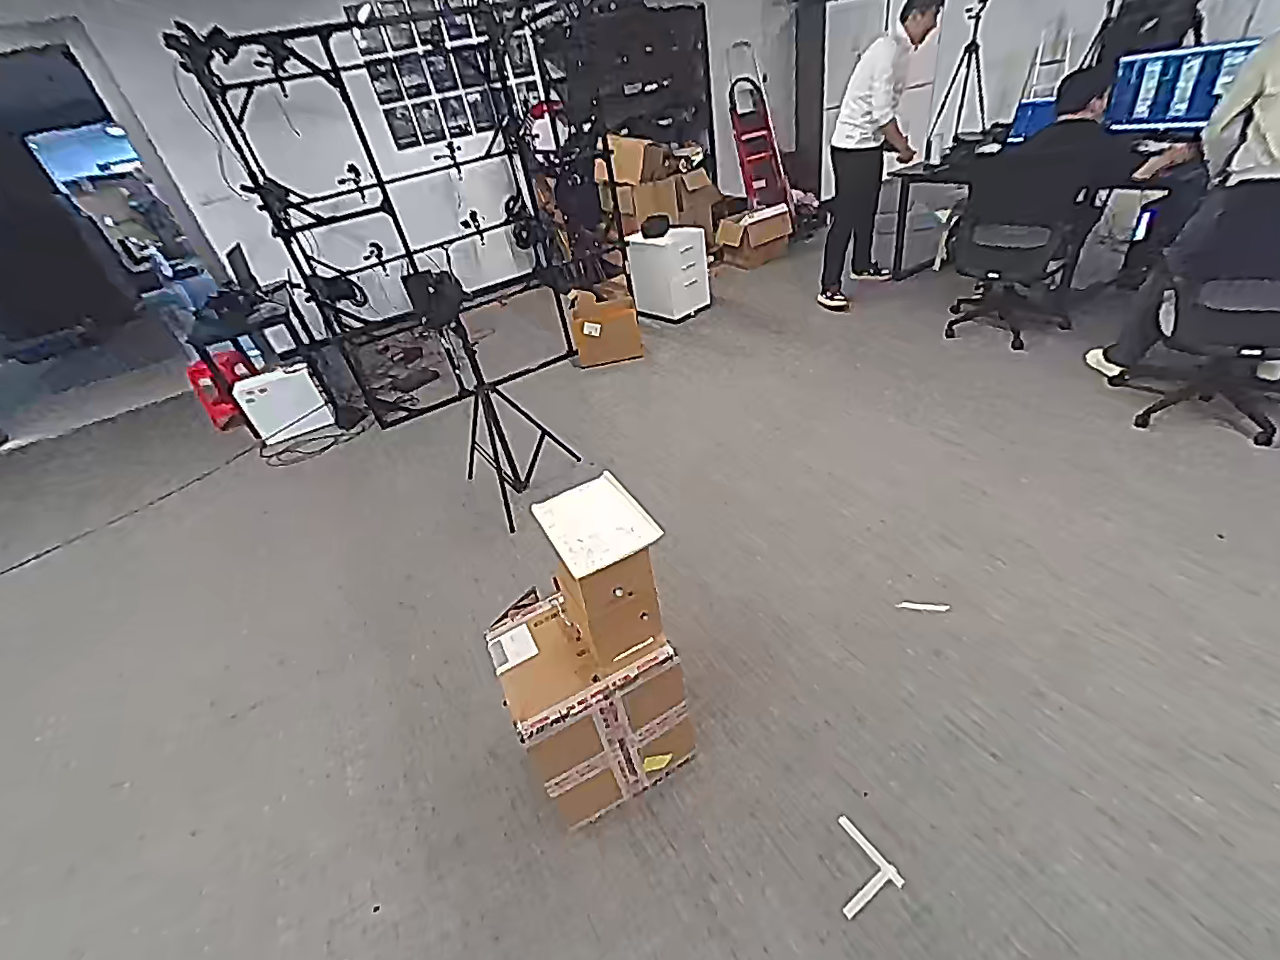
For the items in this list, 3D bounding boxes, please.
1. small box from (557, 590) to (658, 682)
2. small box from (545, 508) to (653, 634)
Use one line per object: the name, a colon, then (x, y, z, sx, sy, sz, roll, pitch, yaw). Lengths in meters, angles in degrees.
small box: (-0.069, 0.328, 1.262, 0.179, 0.176, 0.168, -26, 39, -21)
small box: (-0.086, 0.195, 1.167, 0.168, 0.176, 0.179, -23, 39, -19)
